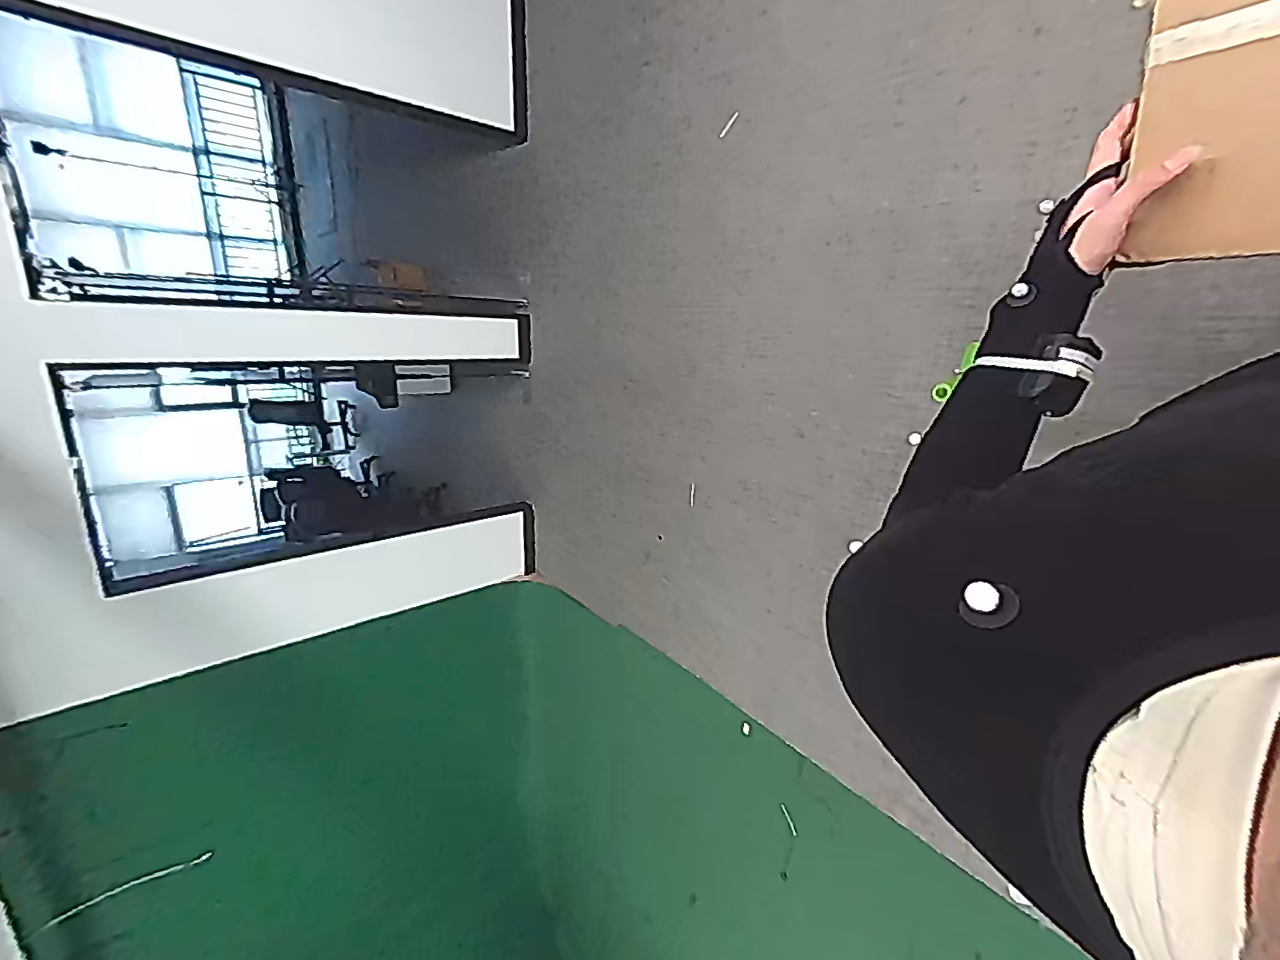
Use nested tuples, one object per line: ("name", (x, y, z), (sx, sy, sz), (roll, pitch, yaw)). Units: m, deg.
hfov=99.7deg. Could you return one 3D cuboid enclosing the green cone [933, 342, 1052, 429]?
("green cone", (0.812, -0.221, 1.321), (0.200, 0.368, 0.202), (28, 121, 44))
